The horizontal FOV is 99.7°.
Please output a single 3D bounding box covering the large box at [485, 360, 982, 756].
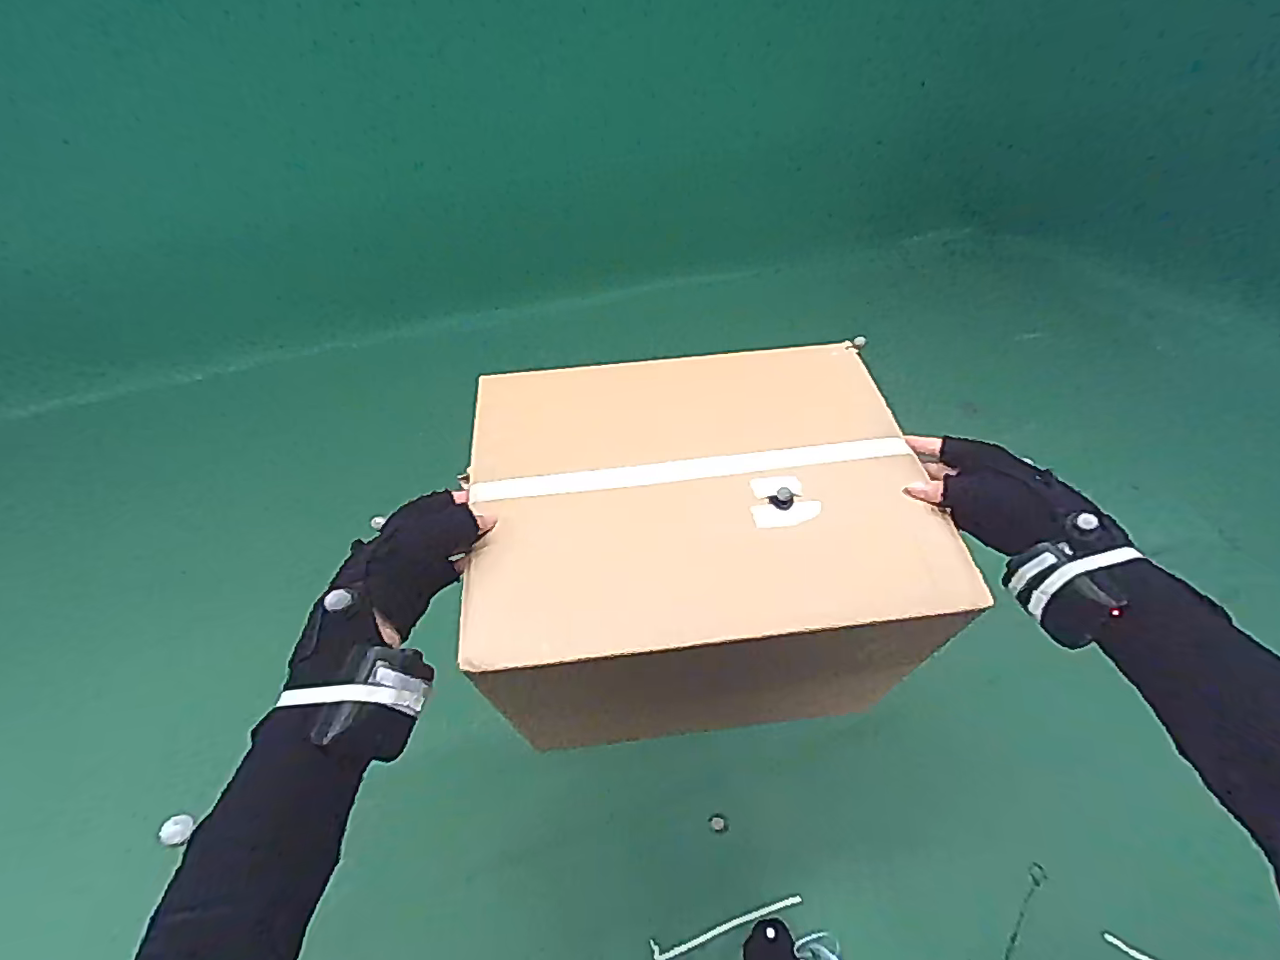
[{"bbox_3d":[0.061,0.095,0.622,0.408,0.320,0.320,-6,53,-4],"label":"large box"}]
